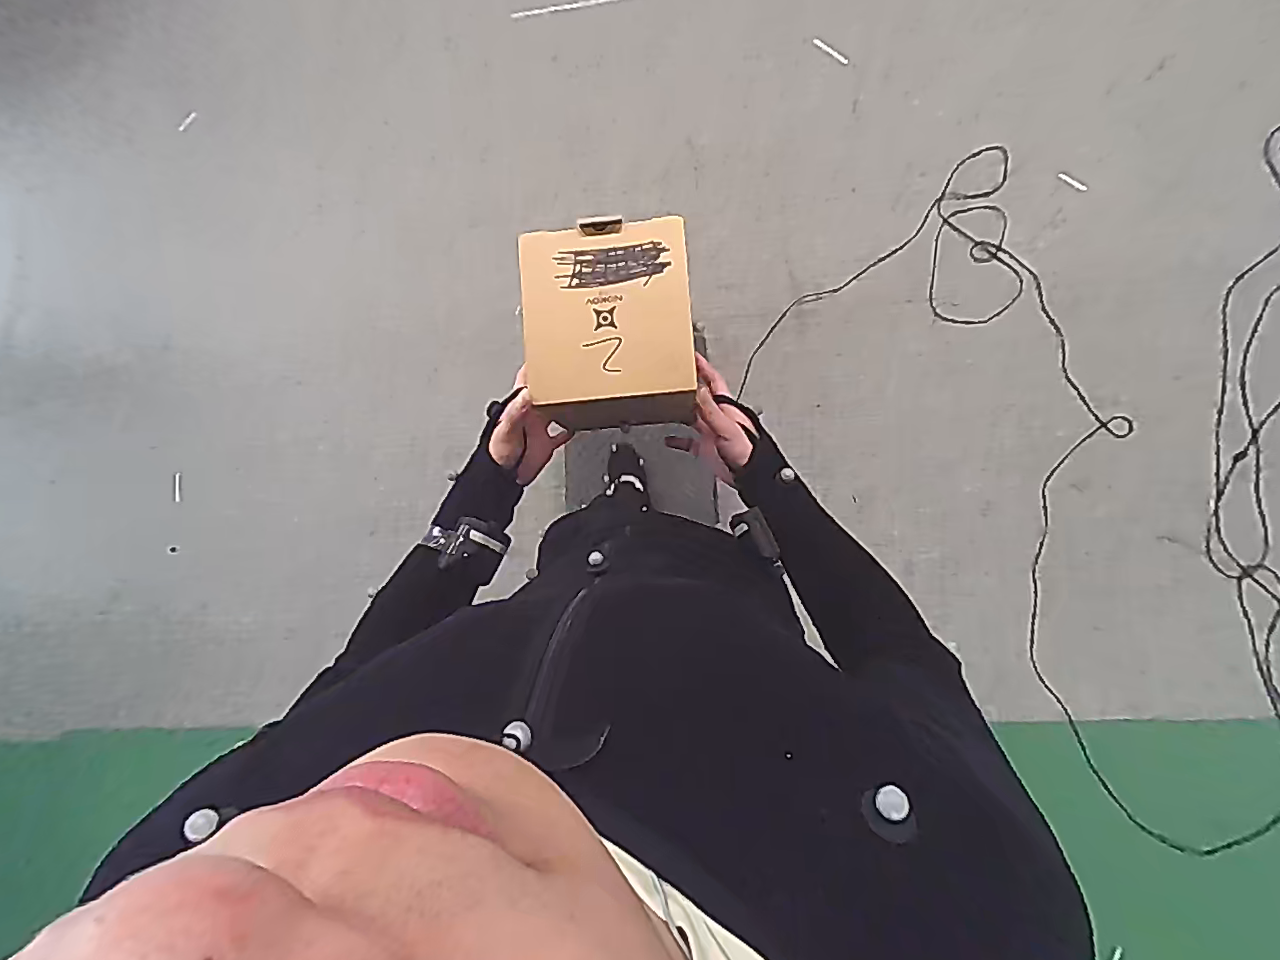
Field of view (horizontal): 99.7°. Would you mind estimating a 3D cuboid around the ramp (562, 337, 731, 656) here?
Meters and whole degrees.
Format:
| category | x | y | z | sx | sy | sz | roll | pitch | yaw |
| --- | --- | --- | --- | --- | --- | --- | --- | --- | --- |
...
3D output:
| category | x | y | z | sx | sy | sz | roll | pitch | yaw |
| --- | --- | --- | --- | --- | --- | --- | --- | --- | --- |
| ramp | -0.003 | 0.025 | 1.708 | 0.509 | 0.206 | 0.991 | -6 | 86 | 7 |
